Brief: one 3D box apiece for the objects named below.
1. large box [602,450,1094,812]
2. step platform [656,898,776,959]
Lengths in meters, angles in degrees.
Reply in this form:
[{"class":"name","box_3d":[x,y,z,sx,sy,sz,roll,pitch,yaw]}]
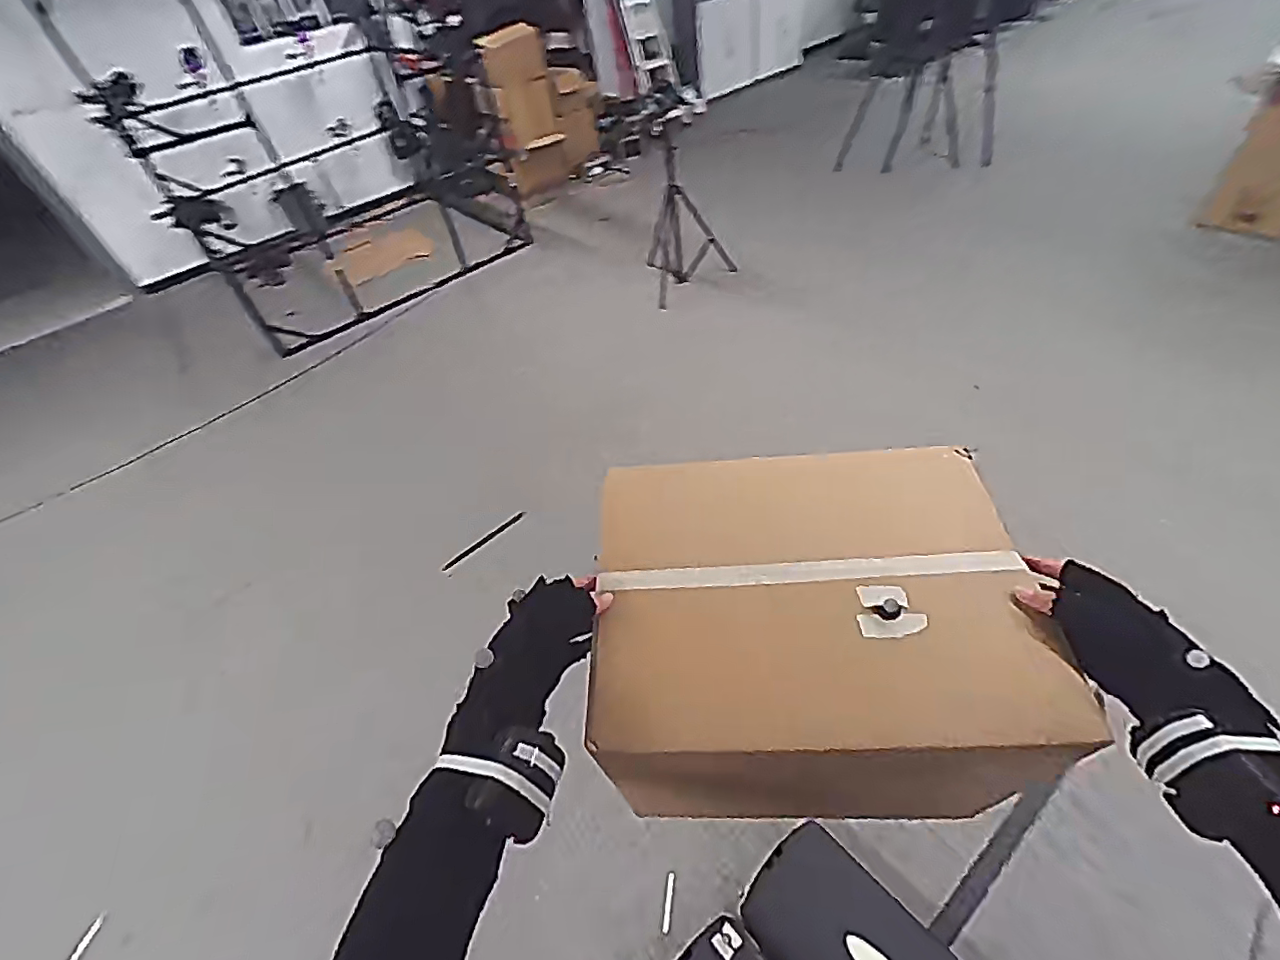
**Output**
[{"class":"large box","box_3d":[0.179,0.191,0.649,0.408,0.320,0.320,-3,50,6]},{"class":"step platform","box_3d":[0.299,1.196,1.021,0.286,0.204,0.684,-38,50,-23]}]
